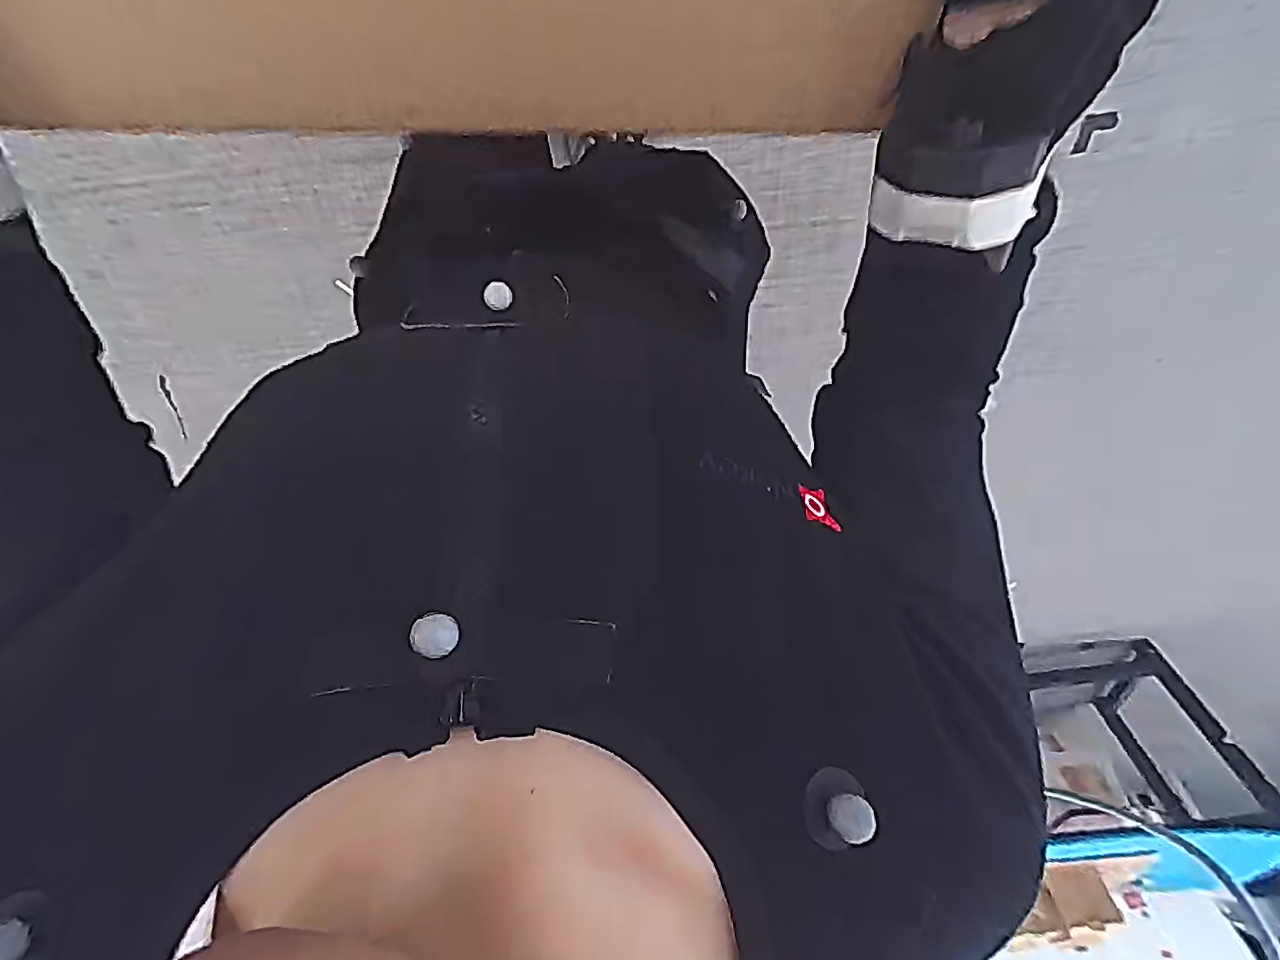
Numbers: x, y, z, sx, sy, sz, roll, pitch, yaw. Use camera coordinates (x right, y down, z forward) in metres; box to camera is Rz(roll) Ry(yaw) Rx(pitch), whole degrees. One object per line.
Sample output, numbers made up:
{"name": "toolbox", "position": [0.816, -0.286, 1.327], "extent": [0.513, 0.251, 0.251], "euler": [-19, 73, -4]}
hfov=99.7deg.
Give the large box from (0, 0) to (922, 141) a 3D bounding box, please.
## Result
{"name": "large box", "position": [-0.087, -0.368, 0.200], "extent": [0.408, 0.320, 0.320], "euler": [-1, 147, -1]}
